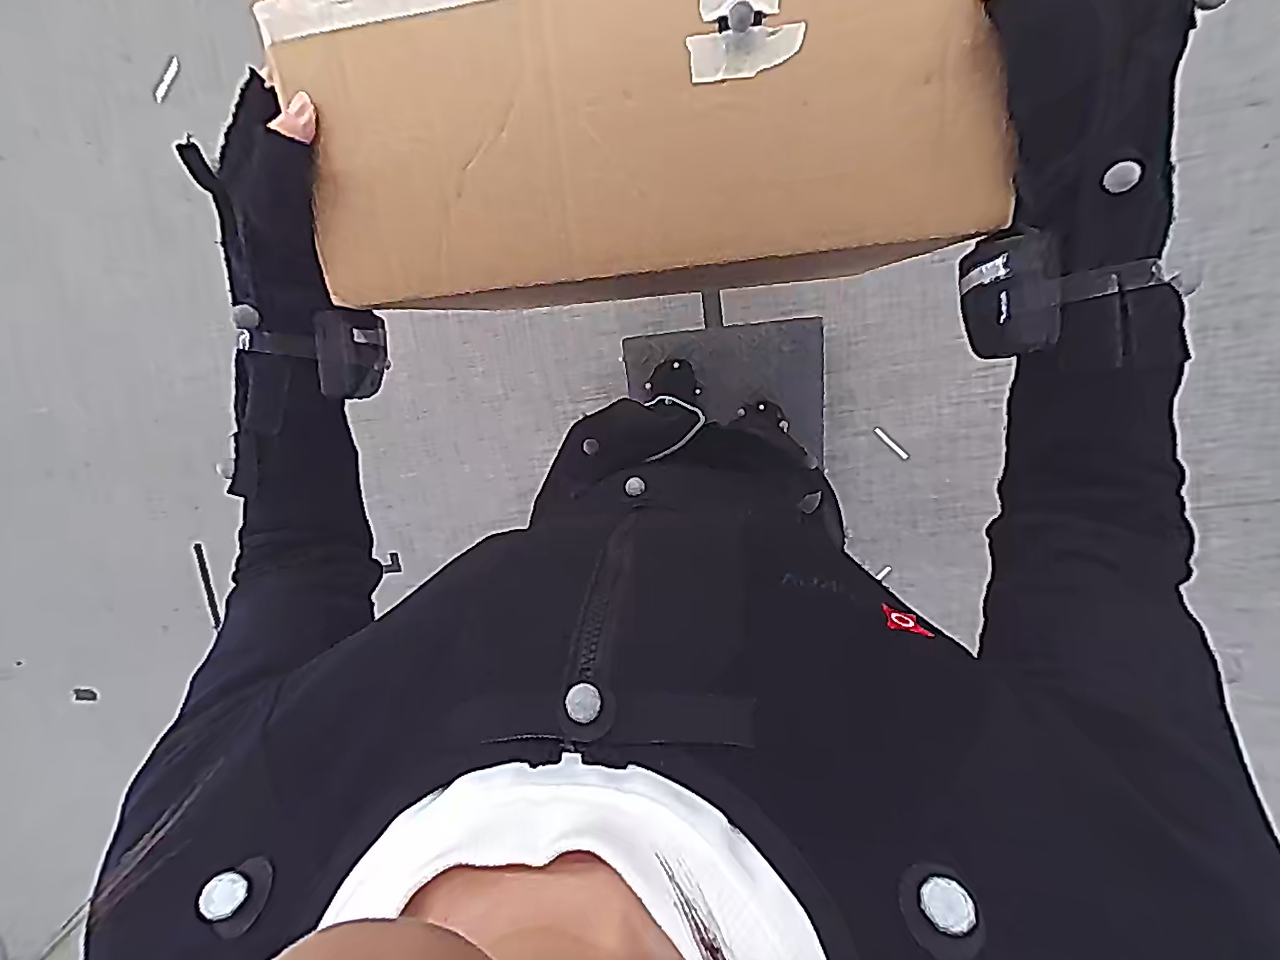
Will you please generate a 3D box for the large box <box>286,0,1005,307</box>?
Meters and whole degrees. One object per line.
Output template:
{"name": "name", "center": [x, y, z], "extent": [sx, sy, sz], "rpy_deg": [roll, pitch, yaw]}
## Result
{"name": "large box", "center": [0.004, -0.324, 0.433], "extent": [0.408, 0.320, 0.320], "rpy_deg": [-4, 107, 9]}
